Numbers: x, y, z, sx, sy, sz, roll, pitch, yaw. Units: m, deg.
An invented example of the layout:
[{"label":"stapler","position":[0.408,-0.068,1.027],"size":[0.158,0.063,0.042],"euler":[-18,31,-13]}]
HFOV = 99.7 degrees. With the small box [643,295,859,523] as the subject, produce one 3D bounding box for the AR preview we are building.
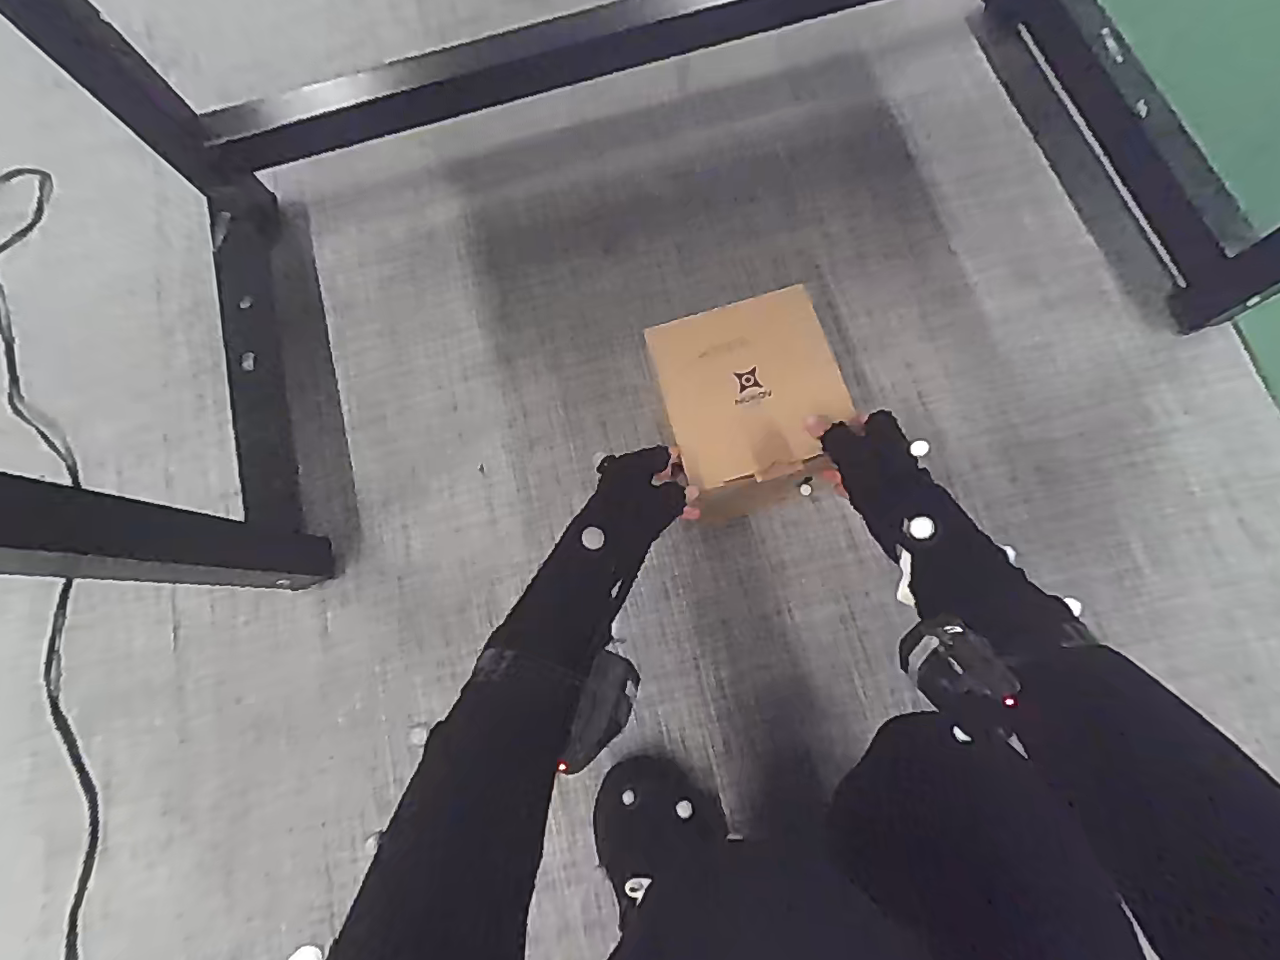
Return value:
[{"label":"small box","position":[0.110,-0.061,0.588],"size":[0.168,0.176,0.179],"euler":[-16,72,2]}]
